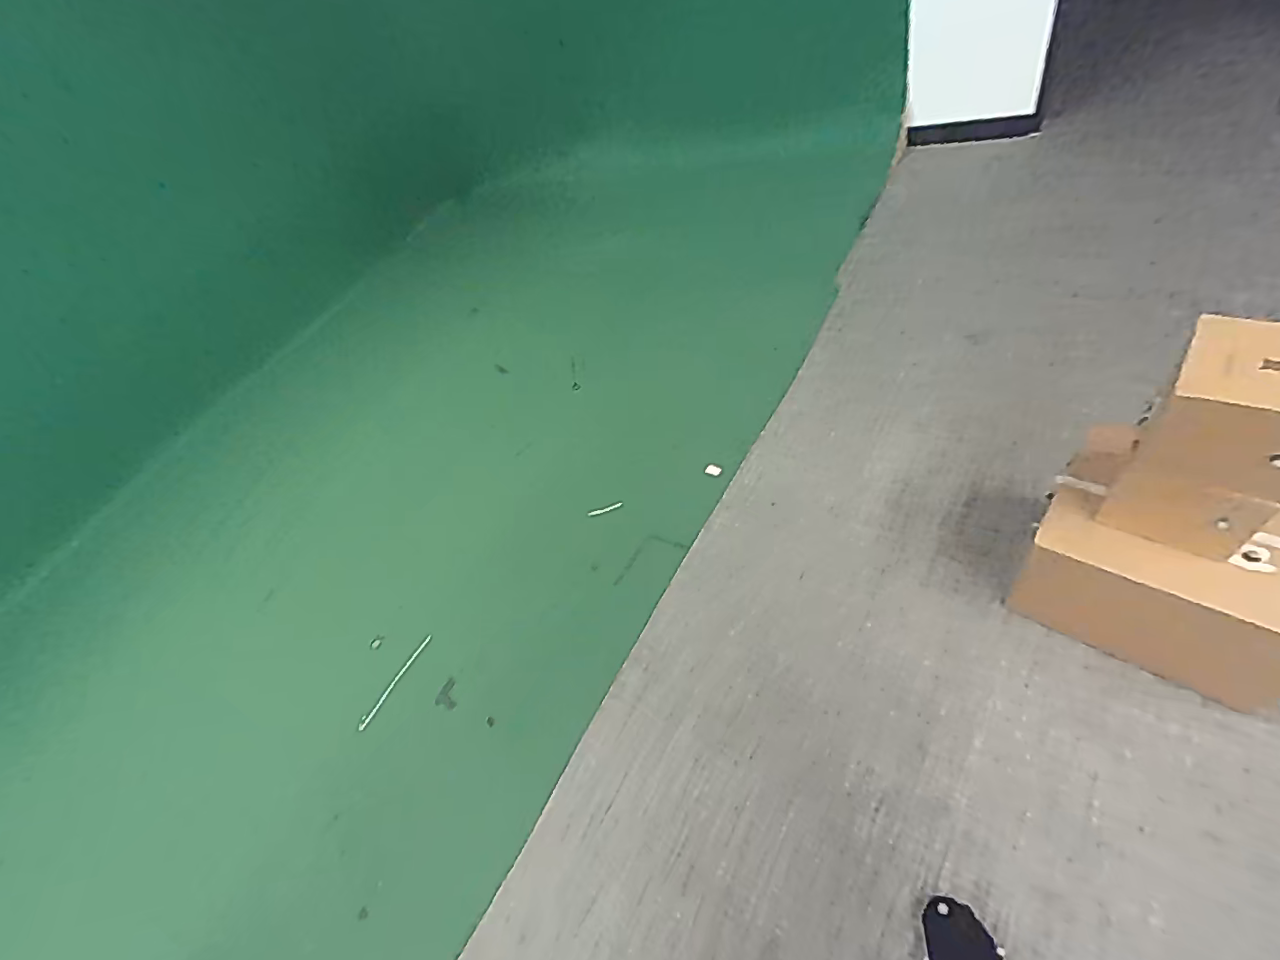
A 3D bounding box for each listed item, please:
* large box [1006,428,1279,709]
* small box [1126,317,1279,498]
[{"bbox_3d":[0.996,0.158,1.026,0.408,0.320,0.320,25,69,35],"label":"large box"},{"bbox_3d":[0.831,-0.098,0.752,0.179,0.176,0.168,21,65,35],"label":"small box"}]
